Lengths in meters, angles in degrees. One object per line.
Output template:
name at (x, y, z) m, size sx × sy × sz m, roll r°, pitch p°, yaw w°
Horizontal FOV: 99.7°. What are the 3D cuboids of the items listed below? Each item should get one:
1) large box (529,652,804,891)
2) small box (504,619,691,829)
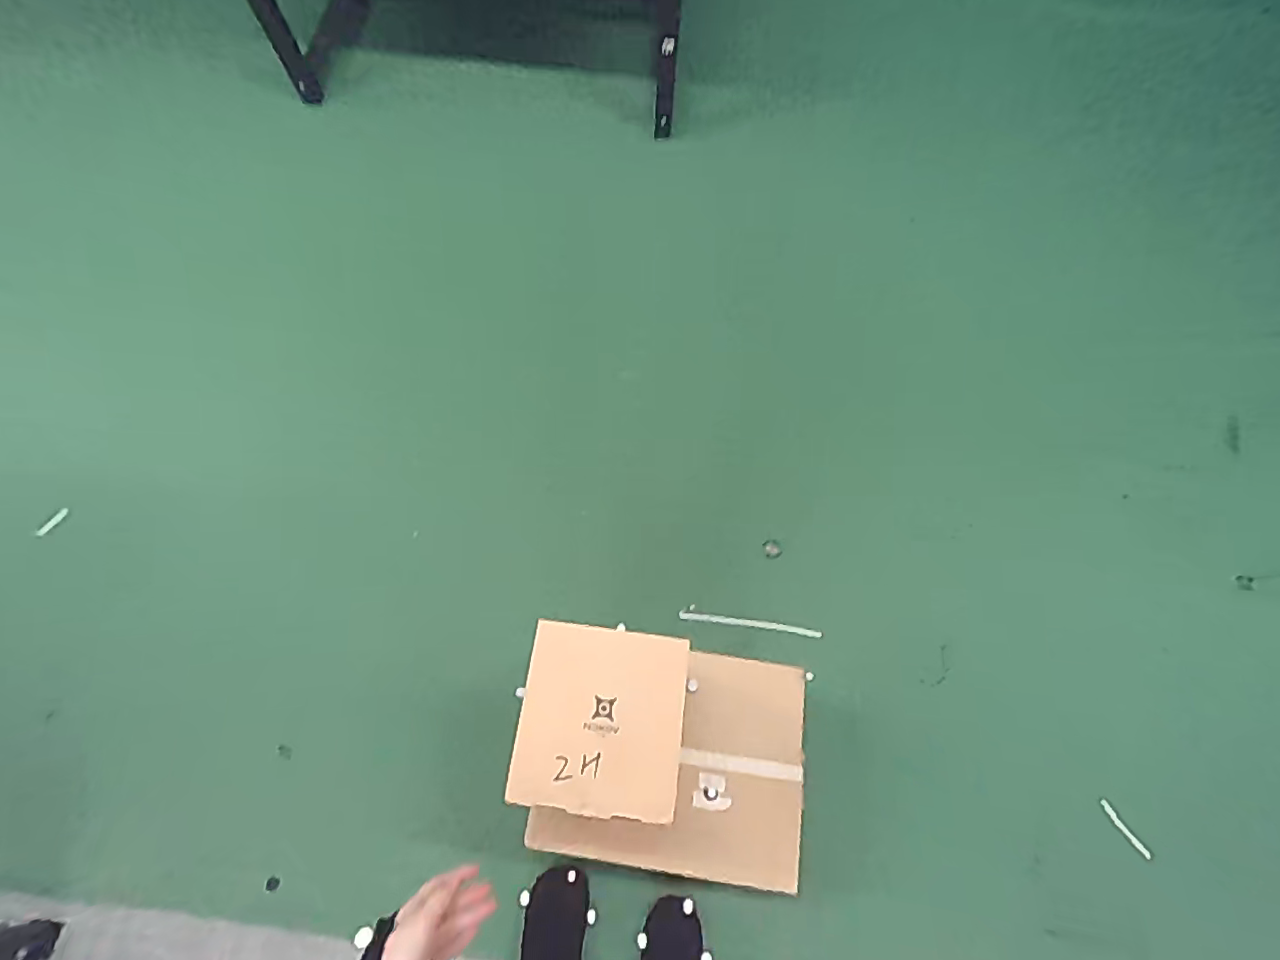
large box at (0.046, 0.478, 0.968) m, size 0.408 × 0.320 × 0.320 m, roll 8°, pitch 69°, yaw 1°
small box at (-0.040, 0.267, 0.612) m, size 0.168 × 0.176 × 0.179 m, roll 7°, pitch 68°, yaw 2°
